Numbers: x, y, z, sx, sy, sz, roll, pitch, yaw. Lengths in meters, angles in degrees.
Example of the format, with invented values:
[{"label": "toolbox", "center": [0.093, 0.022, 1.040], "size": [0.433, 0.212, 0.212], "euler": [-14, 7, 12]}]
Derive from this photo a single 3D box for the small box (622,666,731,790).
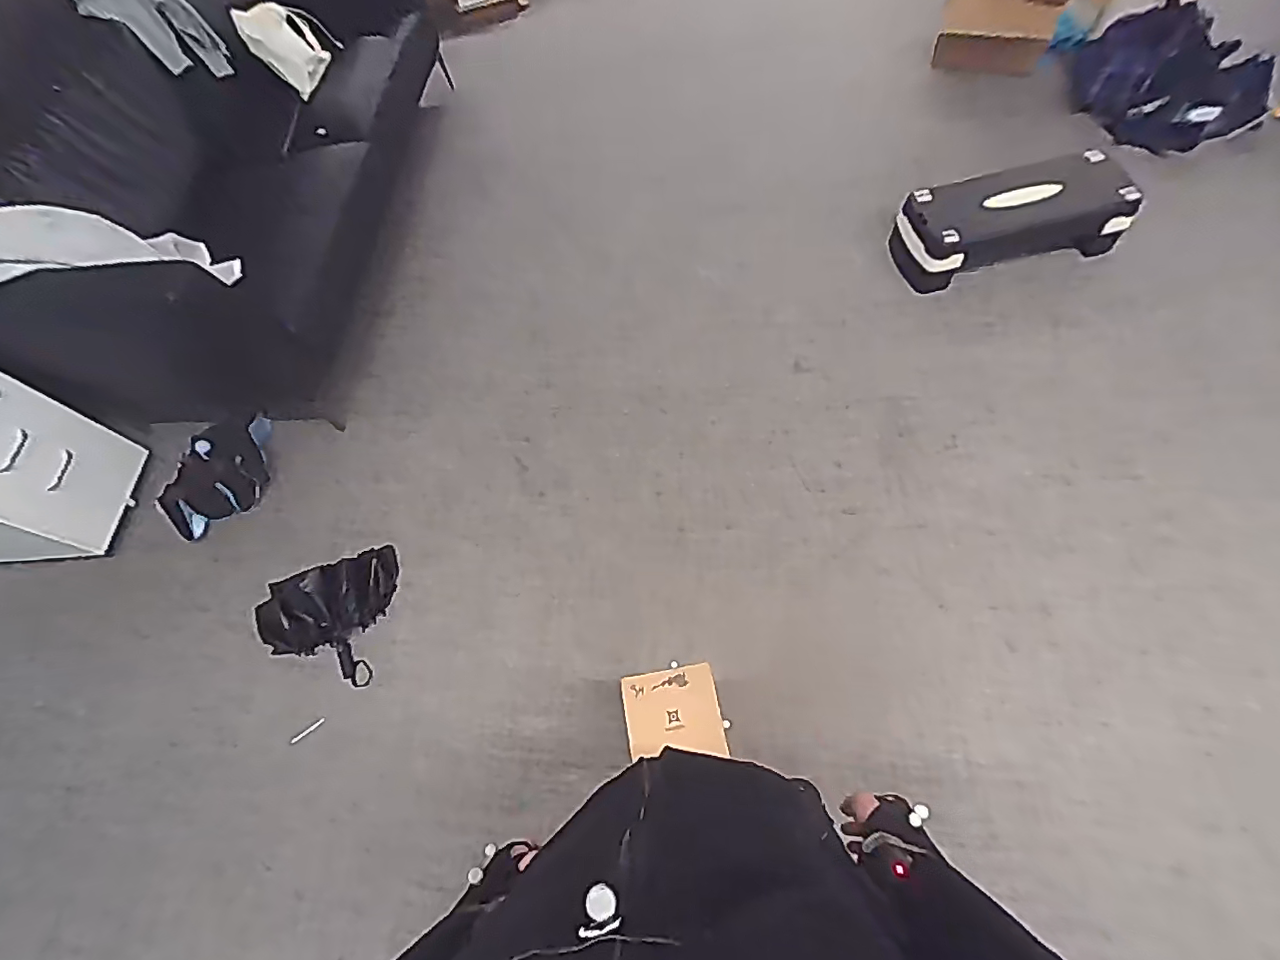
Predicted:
[{"label": "small box", "center": [0.070, 0.453, 0.997], "size": [0.168, 0.176, 0.179], "euler": [-12, 64, 3]}]
